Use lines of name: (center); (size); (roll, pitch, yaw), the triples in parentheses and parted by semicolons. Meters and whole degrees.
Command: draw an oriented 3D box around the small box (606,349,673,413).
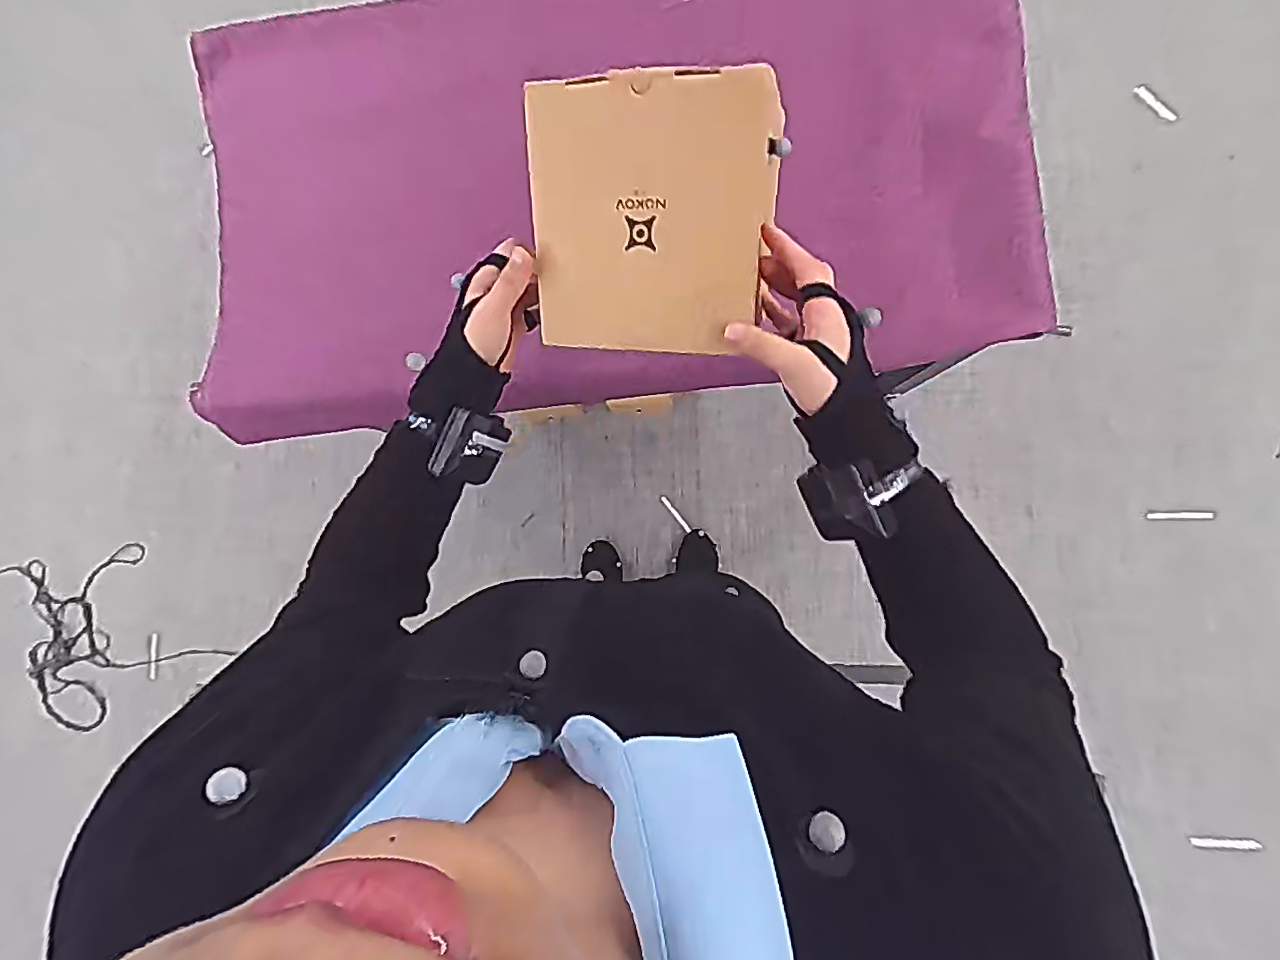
small box: (0.002, -0.276, 1.445); (0.168, 0.176, 0.179); (-1, 86, 5)

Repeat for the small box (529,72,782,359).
small box: (0.024, -0.210, 0.448); (0.168, 0.176, 0.179); (7, 115, 13)
